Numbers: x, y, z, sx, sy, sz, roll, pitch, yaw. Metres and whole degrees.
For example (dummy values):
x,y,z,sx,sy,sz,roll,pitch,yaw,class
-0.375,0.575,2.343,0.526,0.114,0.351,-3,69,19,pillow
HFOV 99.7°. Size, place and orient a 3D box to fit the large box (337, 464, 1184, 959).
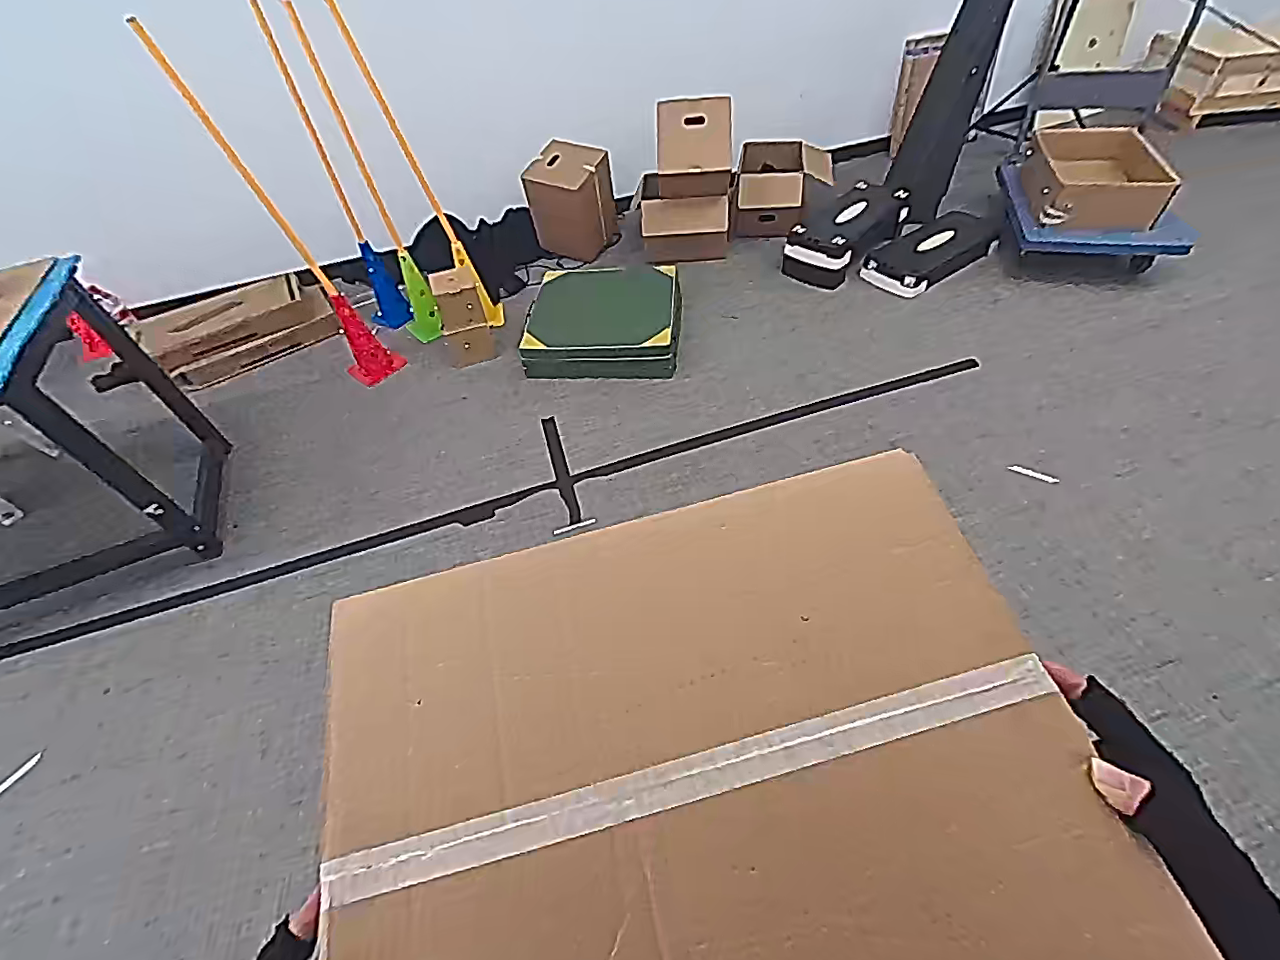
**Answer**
x,y,z,sx,sy,sz,roll,pitch,yaw,class
0.044,0.238,0.433,0.408,0.320,0.320,-15,59,-2,large box
